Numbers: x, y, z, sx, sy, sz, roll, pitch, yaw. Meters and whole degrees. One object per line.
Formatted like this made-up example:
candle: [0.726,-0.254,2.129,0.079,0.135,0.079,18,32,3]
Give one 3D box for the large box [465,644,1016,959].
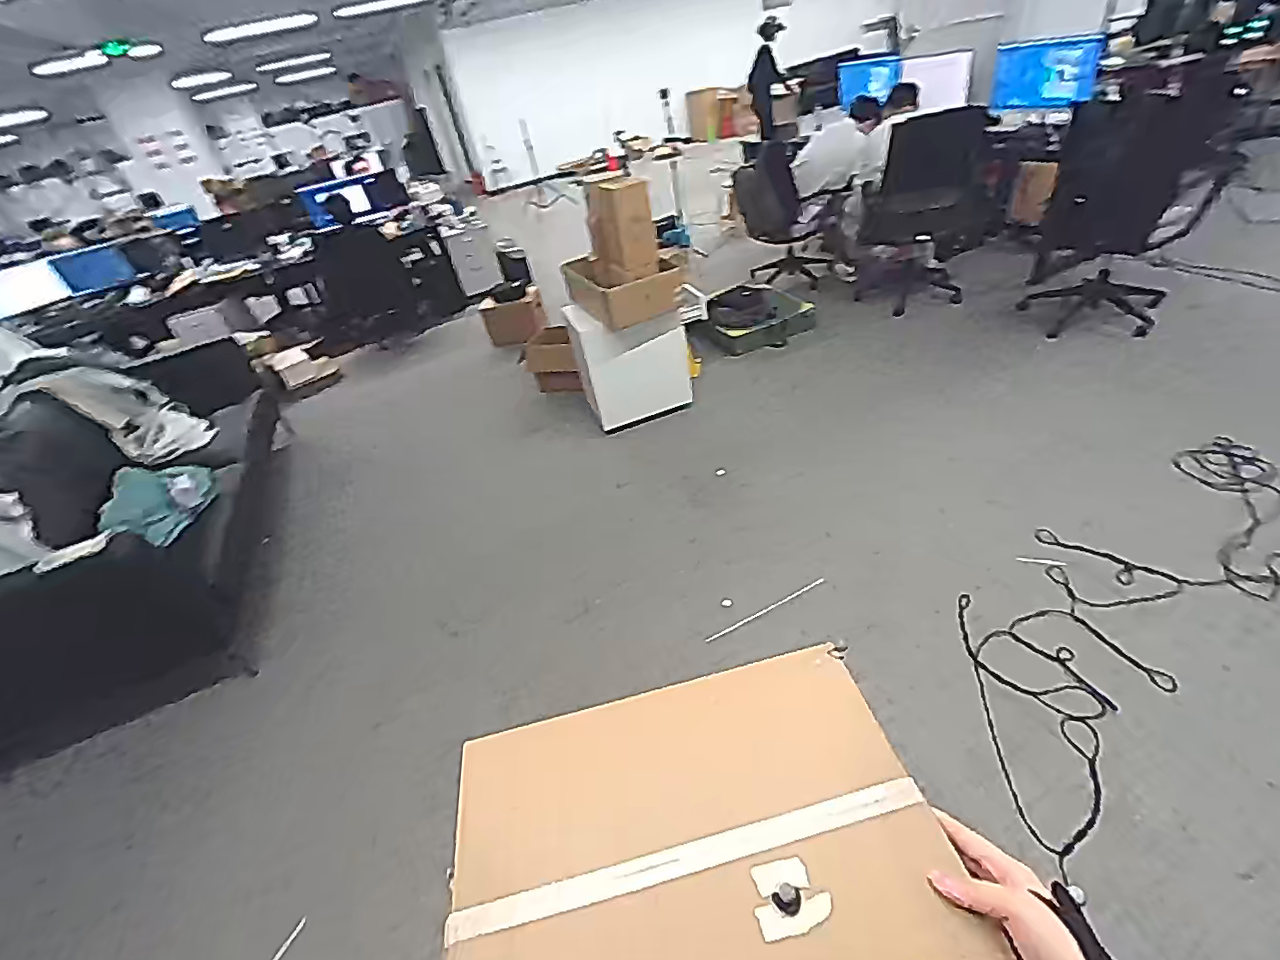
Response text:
large box: [0.068,0.431,0.553,0.408,0.320,0.320,-13,38,-4]
